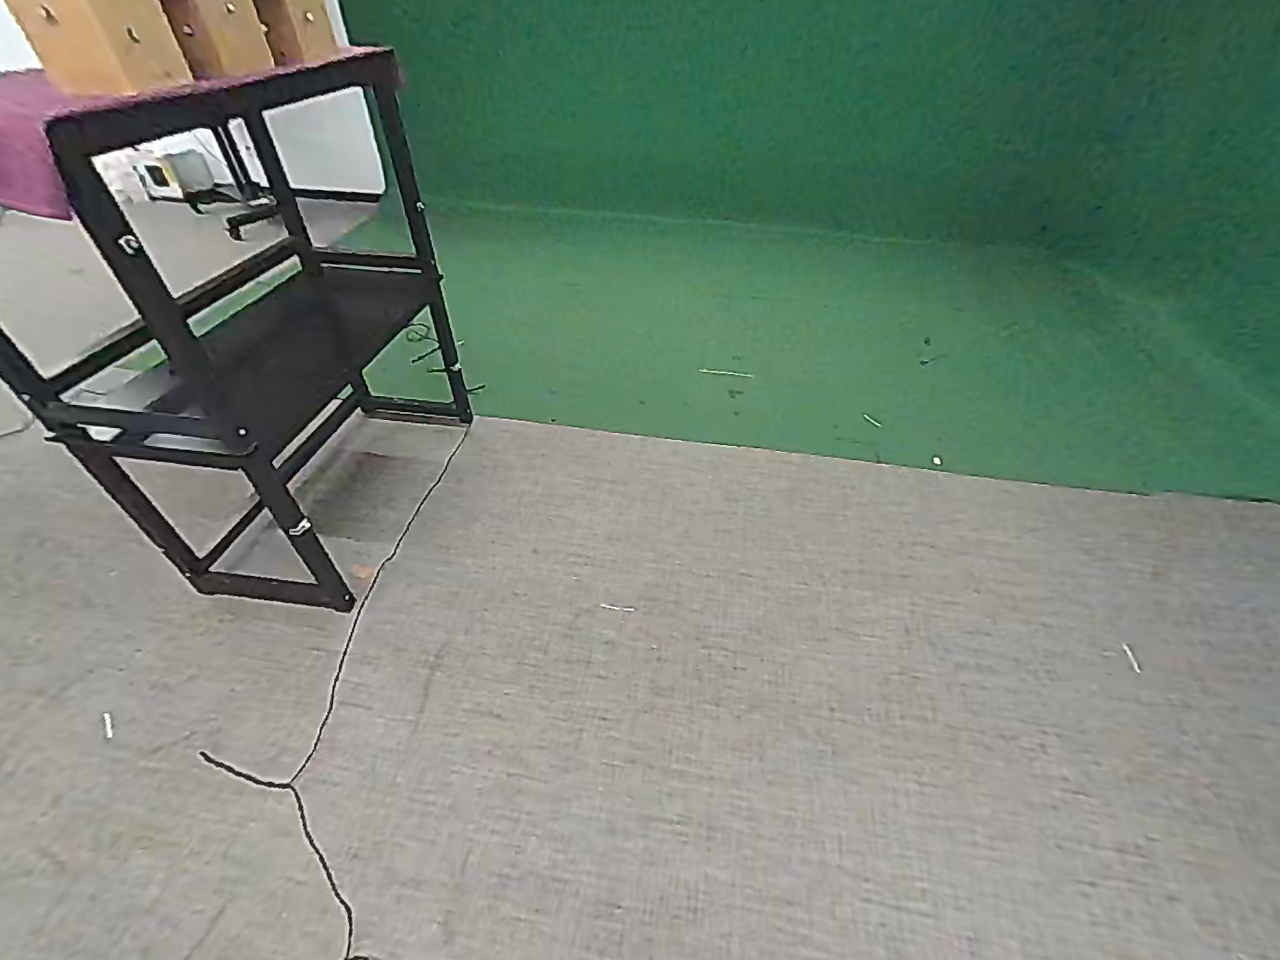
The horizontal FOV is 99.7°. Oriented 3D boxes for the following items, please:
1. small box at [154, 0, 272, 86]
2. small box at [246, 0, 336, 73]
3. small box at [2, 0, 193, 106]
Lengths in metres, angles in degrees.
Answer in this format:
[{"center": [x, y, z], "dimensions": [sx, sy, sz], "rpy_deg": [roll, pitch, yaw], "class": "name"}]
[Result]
[{"center": [-1.024, -1.045, 1.279], "dimensions": [0.168, 0.176, 0.179], "rpy_deg": [6, 43, 6], "class": "small box"}, {"center": [-0.979, -1.241, 1.490], "dimensions": [0.168, 0.176, 0.179], "rpy_deg": [7, 45, 5], "class": "small box"}, {"center": [-1.062, -0.861, 1.078], "dimensions": [0.179, 0.176, 0.168], "rpy_deg": [5, 42, 6], "class": "small box"}]
